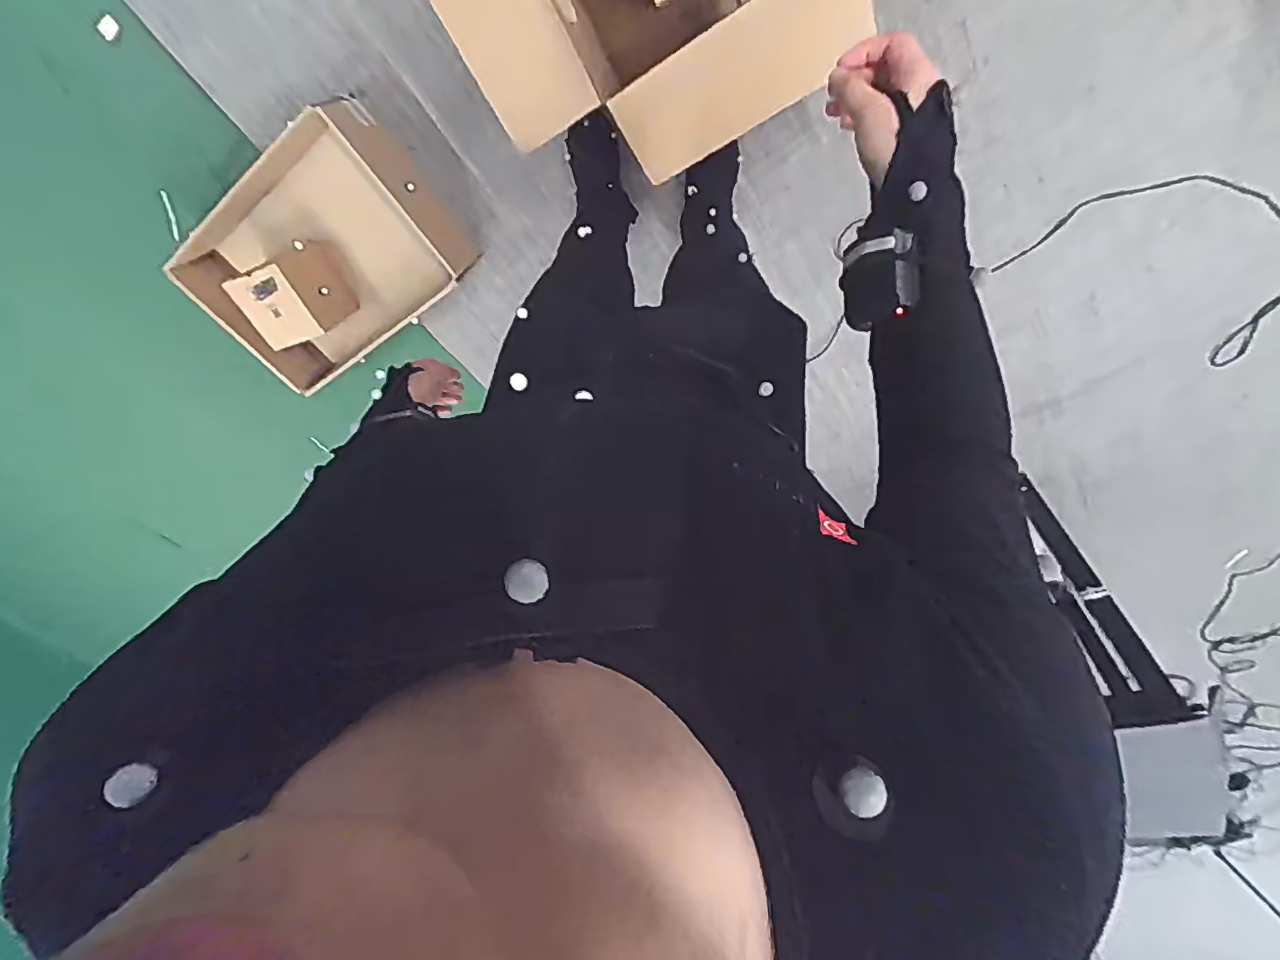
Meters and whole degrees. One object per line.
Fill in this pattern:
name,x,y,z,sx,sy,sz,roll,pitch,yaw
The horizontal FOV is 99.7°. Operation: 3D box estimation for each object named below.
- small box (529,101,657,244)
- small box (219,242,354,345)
small box,-0.088,-0.625,1.107,0.176,0.168,0.179,23,109,-47
small box,-0.844,-0.457,1.310,0.168,0.176,0.179,-11,127,15
